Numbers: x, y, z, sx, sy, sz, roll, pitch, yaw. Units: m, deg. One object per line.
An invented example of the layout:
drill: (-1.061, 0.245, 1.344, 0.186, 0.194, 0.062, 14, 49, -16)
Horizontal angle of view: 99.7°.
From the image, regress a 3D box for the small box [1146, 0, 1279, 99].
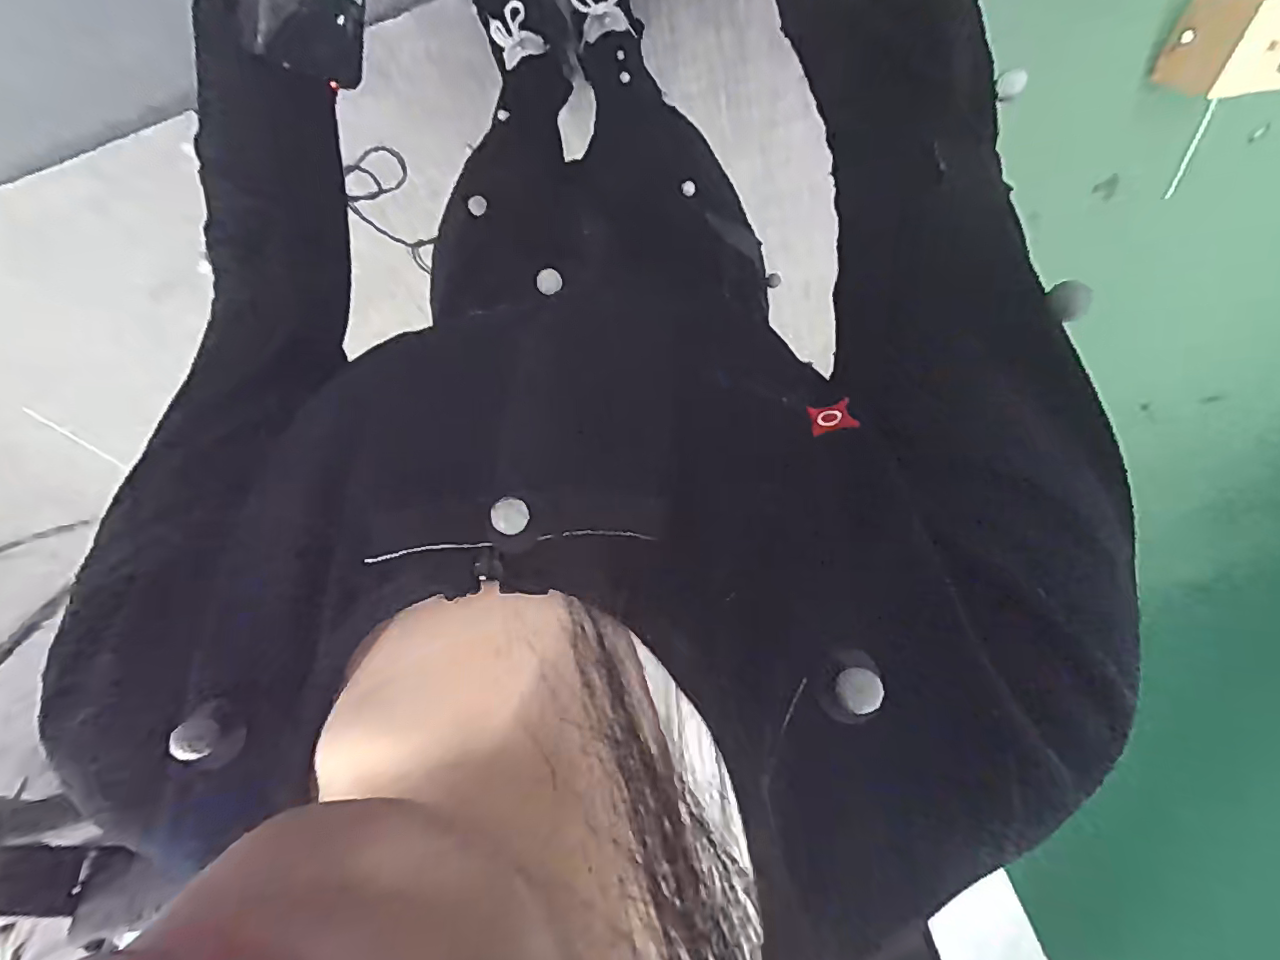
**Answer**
small box: (1.268, -0.947, 1.157, 0.179, 0.176, 0.168, -9, 139, -1)
